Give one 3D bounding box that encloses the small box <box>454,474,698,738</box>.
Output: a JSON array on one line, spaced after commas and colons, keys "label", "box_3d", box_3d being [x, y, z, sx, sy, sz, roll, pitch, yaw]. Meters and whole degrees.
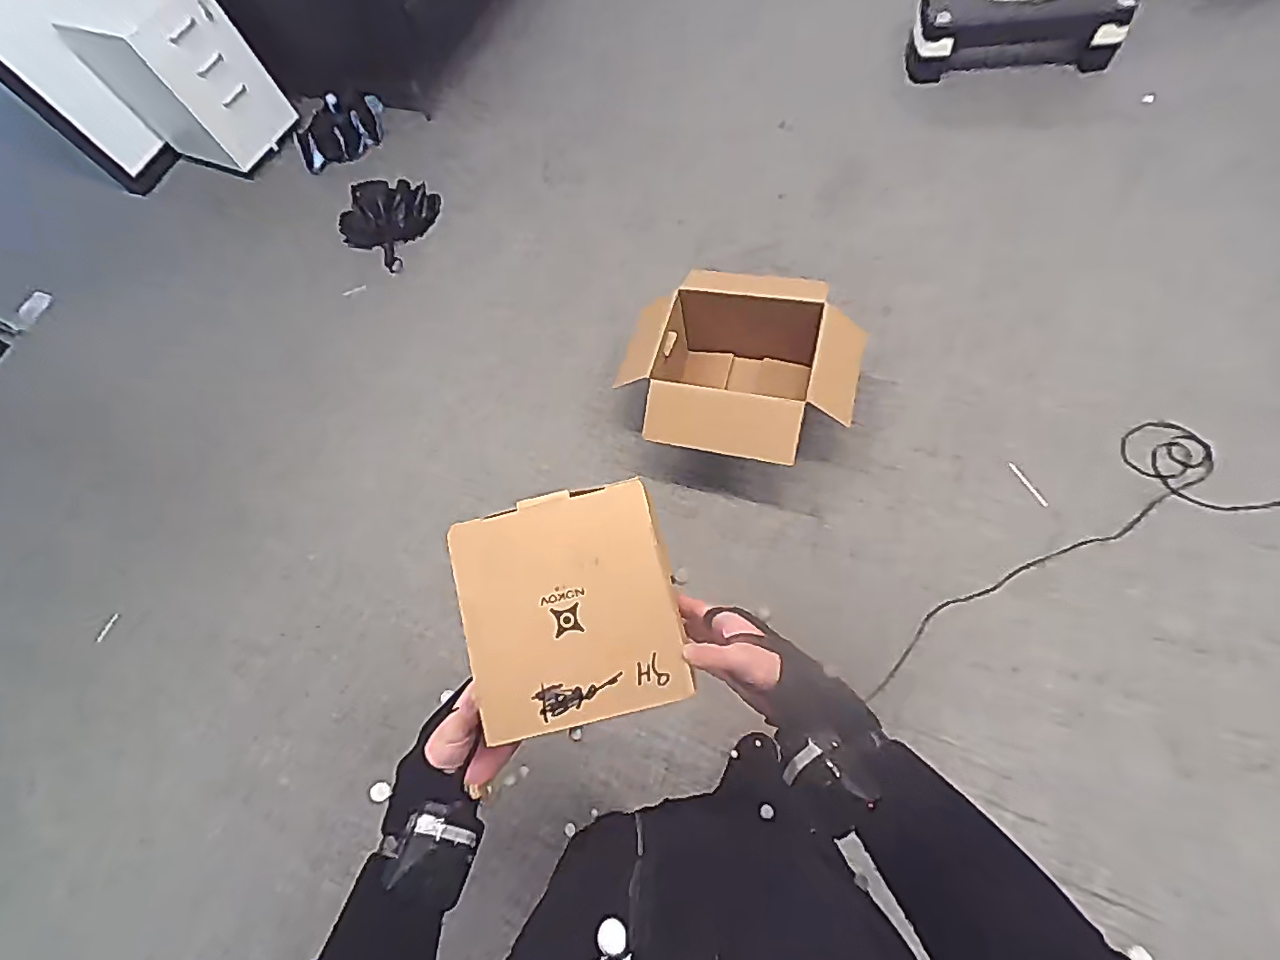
[{"label": "small box", "box_3d": [-0.048, 0.110, 0.500, 0.168, 0.176, 0.179, -15, 79, 3]}]
